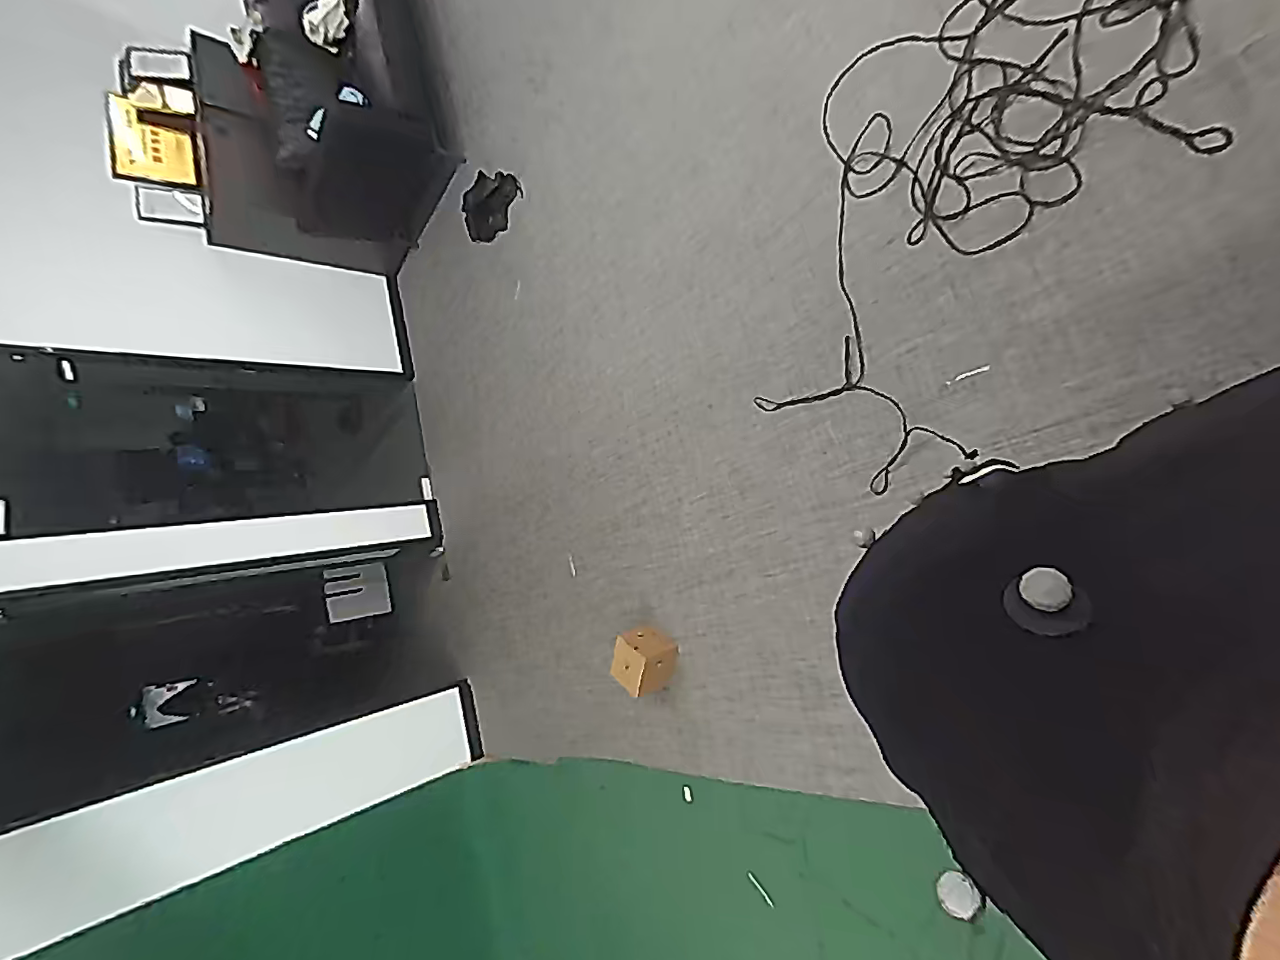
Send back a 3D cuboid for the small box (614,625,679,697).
[{"bbox_3d":[0.028,0.673,2.037,0.168,0.176,0.179,27,114,45],"label":"small box"}]
